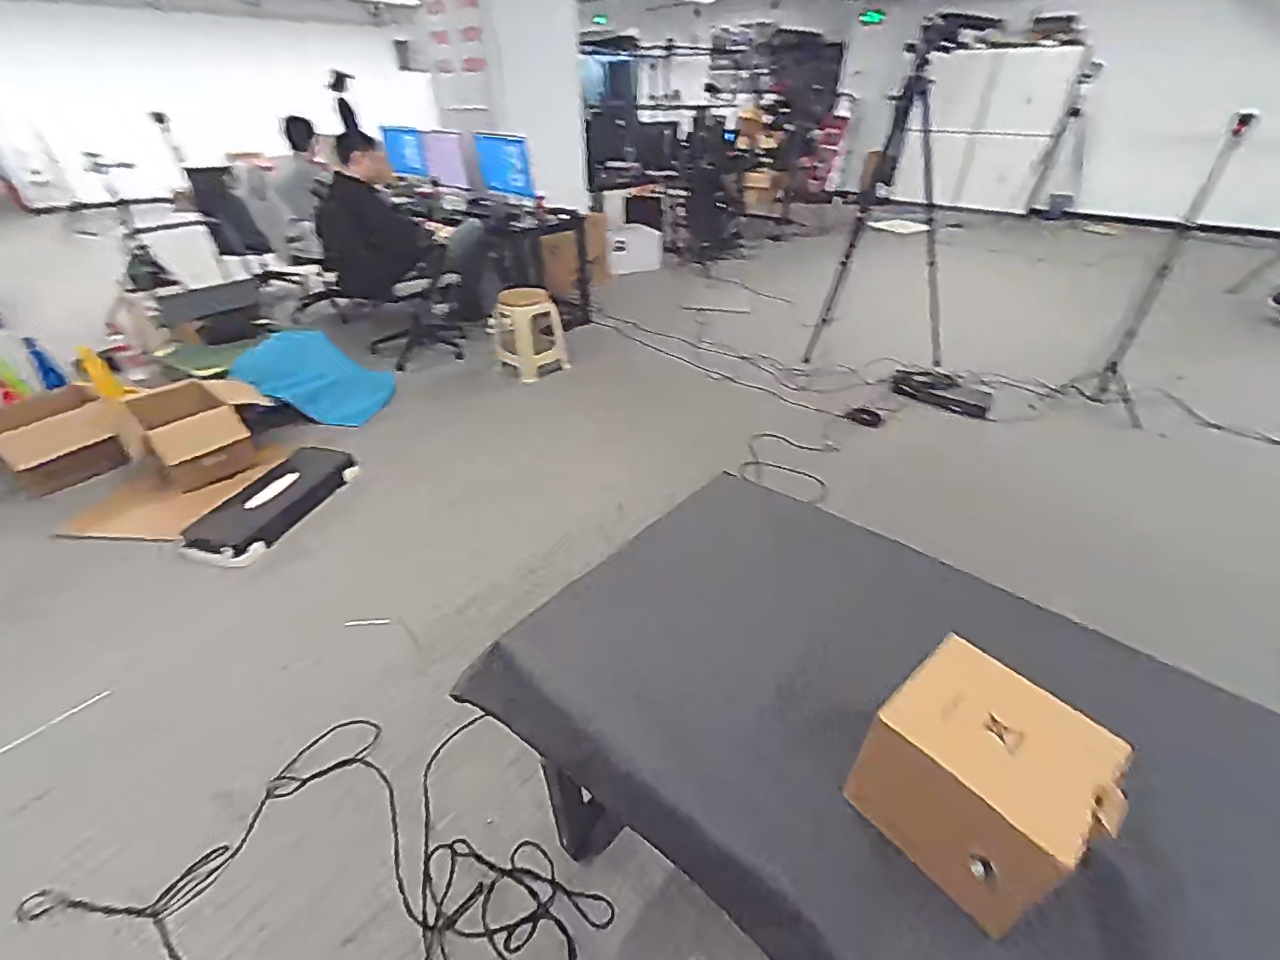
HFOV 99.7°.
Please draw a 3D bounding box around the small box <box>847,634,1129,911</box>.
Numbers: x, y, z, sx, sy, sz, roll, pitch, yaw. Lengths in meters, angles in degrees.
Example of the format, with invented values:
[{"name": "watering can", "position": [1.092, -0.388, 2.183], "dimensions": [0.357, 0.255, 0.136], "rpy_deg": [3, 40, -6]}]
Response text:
[{"name": "small box", "position": [0.355, 0.310, 0.578], "dimensions": [0.168, 0.176, 0.179], "rpy_deg": [-25, 41, -32]}]
